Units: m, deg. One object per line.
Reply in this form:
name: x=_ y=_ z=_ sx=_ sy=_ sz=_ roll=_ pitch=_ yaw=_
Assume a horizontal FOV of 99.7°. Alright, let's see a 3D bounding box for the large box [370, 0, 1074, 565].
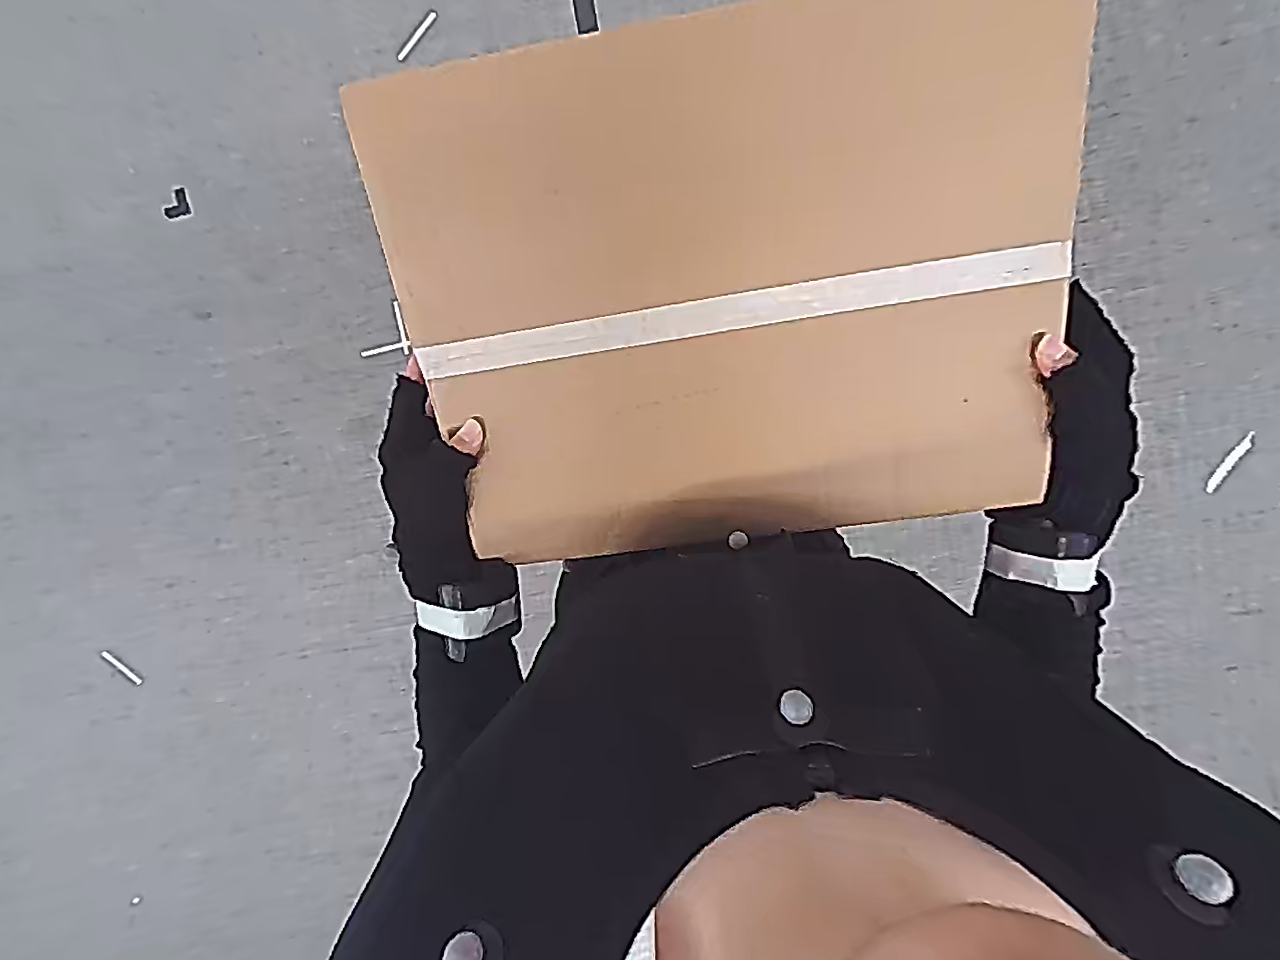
large box: x=0.061 y=-0.152 z=0.489 sx=0.408 sy=0.320 sz=0.320 roll=-7 pitch=111 yaw=5
